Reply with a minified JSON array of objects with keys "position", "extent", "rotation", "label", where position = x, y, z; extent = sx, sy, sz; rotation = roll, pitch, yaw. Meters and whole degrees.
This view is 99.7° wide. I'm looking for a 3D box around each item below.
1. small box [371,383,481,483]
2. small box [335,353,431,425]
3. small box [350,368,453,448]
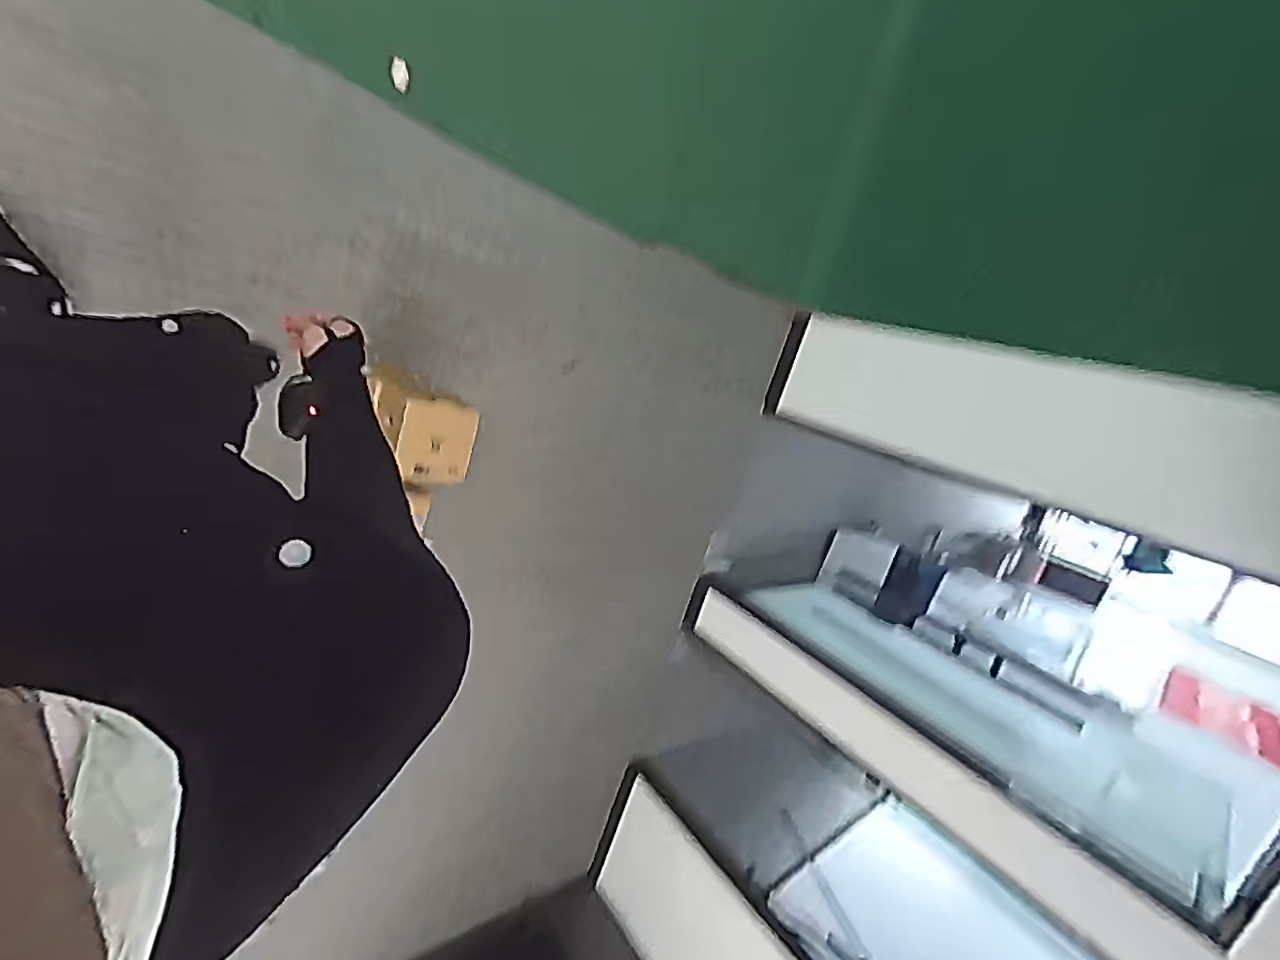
[{"position":[-0.488,-0.108,1.223],"extent":[0.168,0.176,0.179],"rotation":[8,105,-44],"label":"small box"},{"position":[-0.693,-0.229,1.446],"extent":[0.179,0.176,0.168],"rotation":[11,105,-44],"label":"small box"},{"position":[-0.594,-0.169,1.333],"extent":[0.179,0.176,0.168],"rotation":[7,107,-44],"label":"small box"}]
